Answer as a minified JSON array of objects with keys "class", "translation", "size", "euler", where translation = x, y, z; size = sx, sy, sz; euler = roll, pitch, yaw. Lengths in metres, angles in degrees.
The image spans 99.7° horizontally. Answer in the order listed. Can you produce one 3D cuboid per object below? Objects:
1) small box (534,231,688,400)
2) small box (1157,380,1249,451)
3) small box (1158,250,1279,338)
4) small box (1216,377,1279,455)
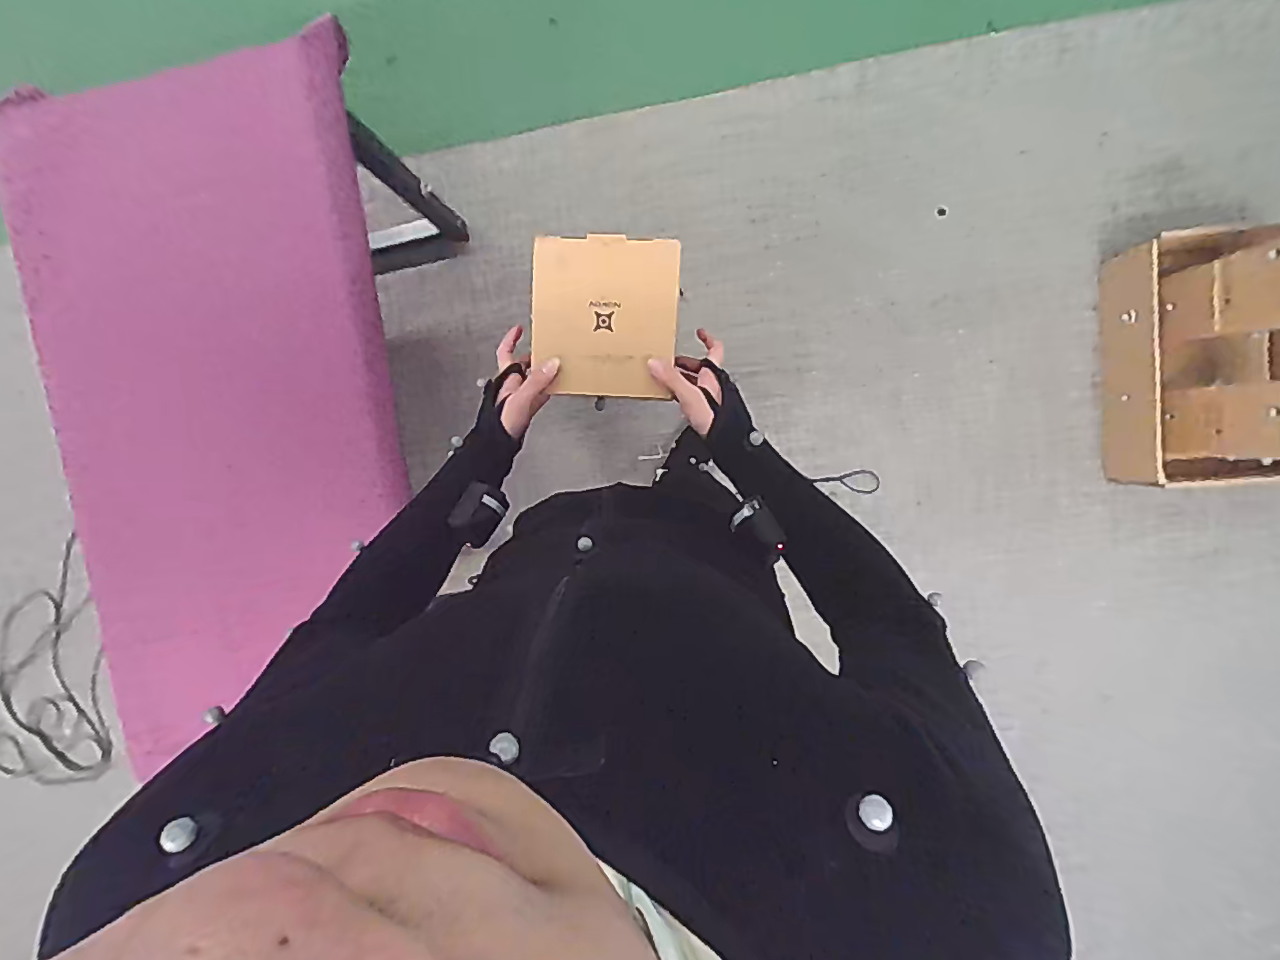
[{"class":"small box","translation":[-0.029,-0.194,0.679],"size":[0.168,0.176,0.179],"euler":[4,99,4]},{"class":"small box","translation":[1.448,-0.160,1.339],"size":[0.179,0.176,0.168],"euler":[-3,94,6]},{"class":"small box","translation":[1.432,-0.449,1.319],"size":[0.179,0.176,0.168],"euler":[-4,94,4]},{"class":"small box","translation":[1.432,-0.141,1.176],"size":[0.179,0.176,0.168],"euler":[-2,94,5]}]
